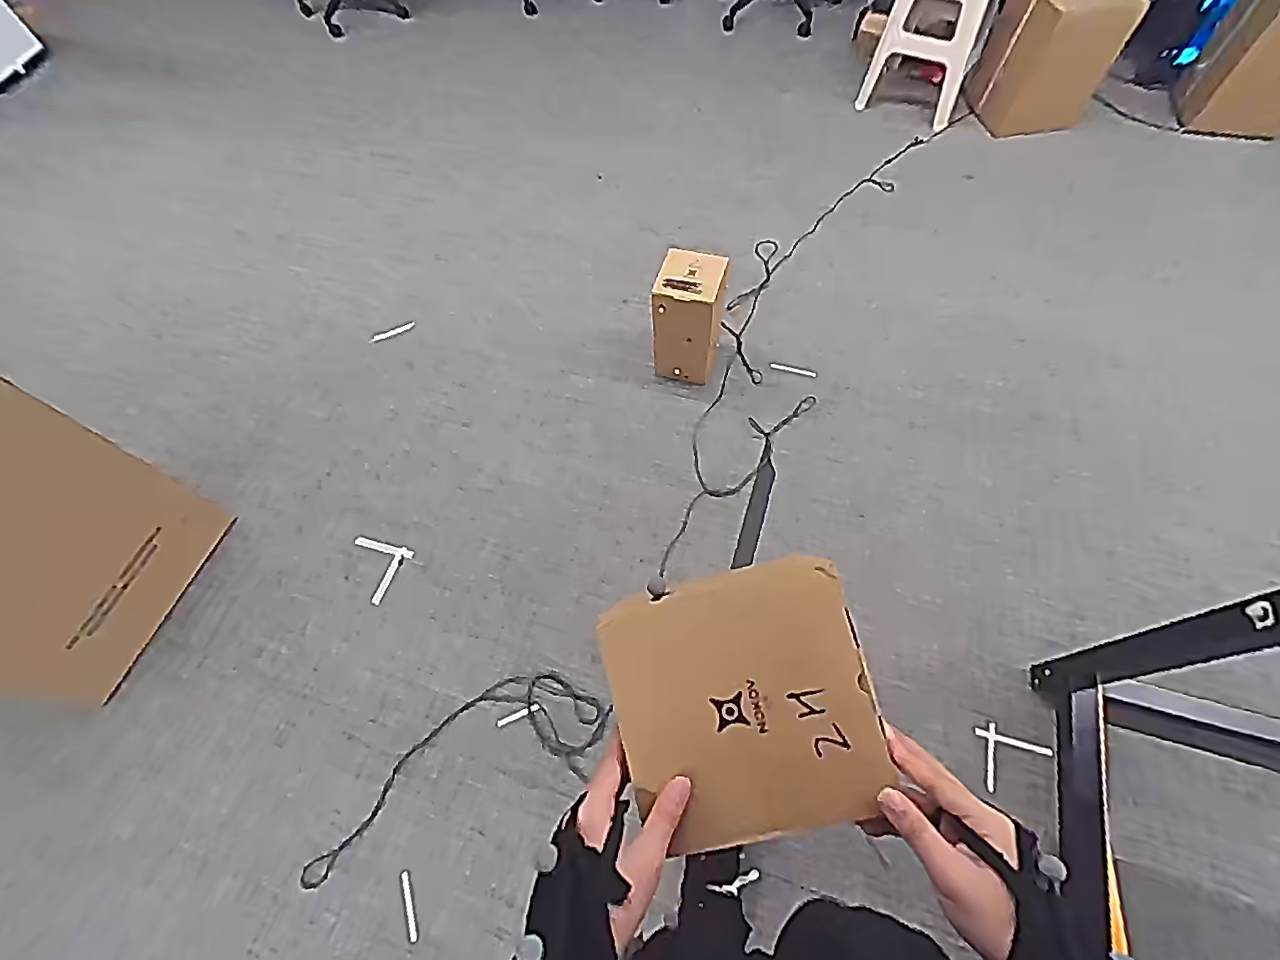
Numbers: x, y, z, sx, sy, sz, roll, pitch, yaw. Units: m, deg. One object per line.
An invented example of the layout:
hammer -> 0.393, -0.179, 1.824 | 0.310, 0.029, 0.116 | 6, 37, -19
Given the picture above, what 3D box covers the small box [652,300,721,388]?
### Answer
small box -> 0.137, -0.407, 1.626 | 0.168, 0.176, 0.179 | 14, 64, 11
